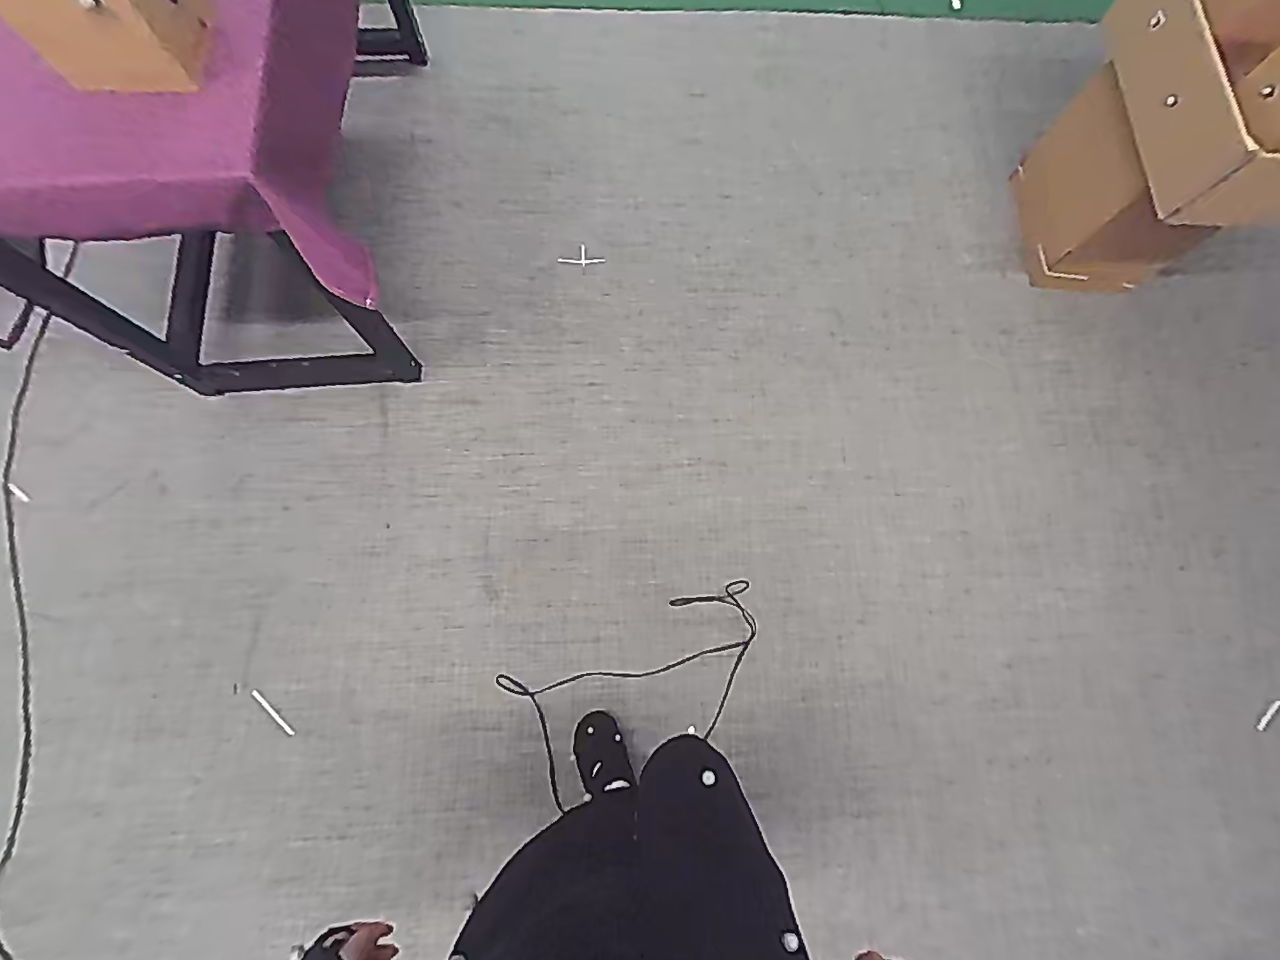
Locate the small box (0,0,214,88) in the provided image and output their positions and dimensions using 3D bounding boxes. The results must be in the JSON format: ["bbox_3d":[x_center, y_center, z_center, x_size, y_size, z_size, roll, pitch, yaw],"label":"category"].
[{"bbox_3d":[-0.728,-0.668,0.731,0.179,0.176,0.168,-1,75,-2],"label":"small box"}]
